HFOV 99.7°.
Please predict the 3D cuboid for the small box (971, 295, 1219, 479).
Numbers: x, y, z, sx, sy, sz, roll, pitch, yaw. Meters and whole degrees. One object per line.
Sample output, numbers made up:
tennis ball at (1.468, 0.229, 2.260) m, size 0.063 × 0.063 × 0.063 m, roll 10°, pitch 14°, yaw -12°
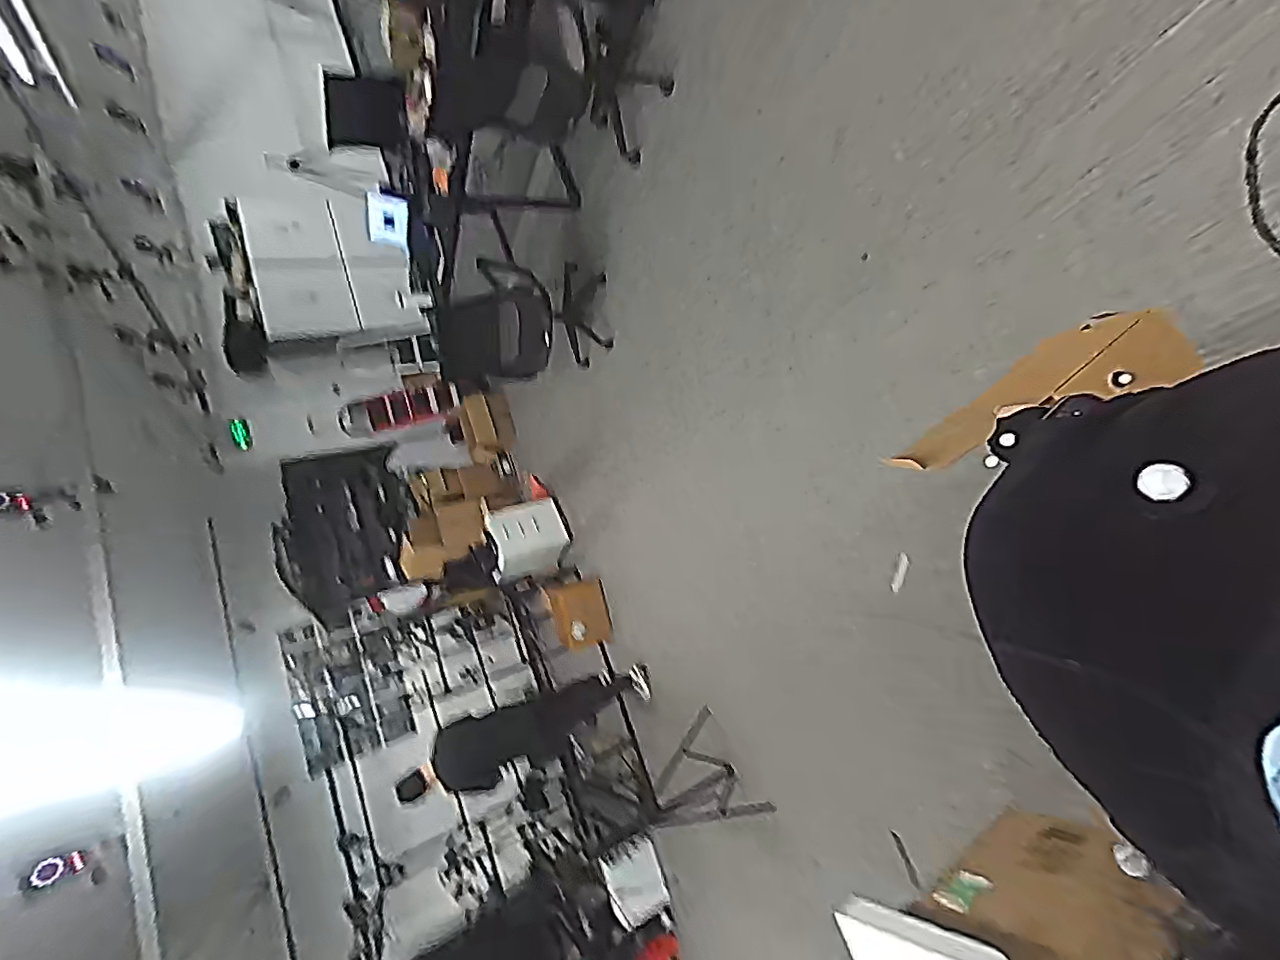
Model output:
small box at (0.627, -0.120, 0.757) m, size 0.176 × 0.179 × 0.168 m, roll 50°, pitch -177°, yaw -6°
